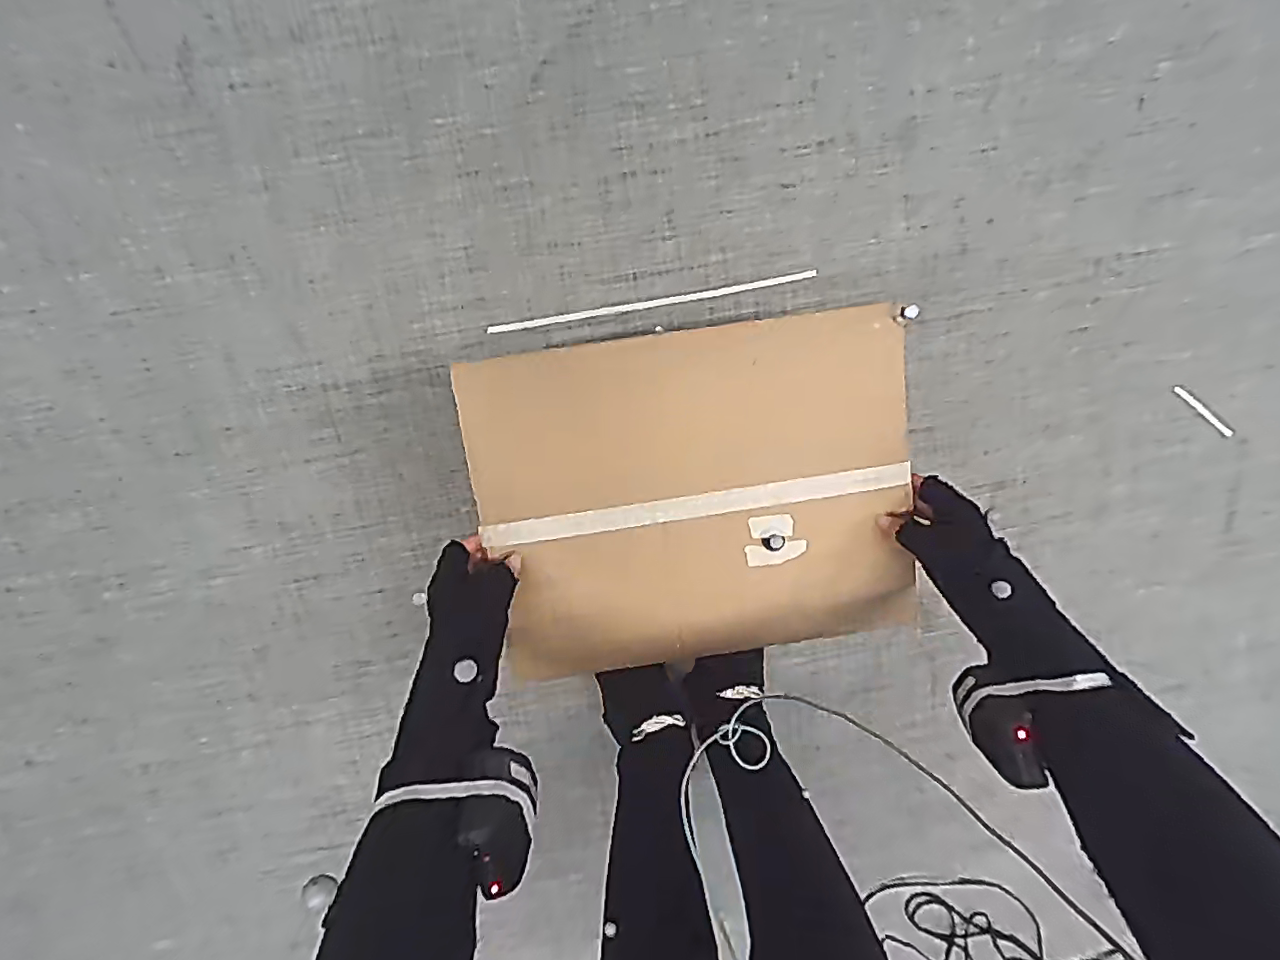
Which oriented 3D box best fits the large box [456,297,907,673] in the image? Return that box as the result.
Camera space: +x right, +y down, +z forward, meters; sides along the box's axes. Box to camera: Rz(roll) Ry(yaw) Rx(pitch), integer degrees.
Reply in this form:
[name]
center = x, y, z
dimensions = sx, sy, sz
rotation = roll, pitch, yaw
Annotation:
[large box]
center = 0.044, -0.013, 0.661
dimensions = 0.408, 0.320, 0.320
rotation = -9, 103, -1
